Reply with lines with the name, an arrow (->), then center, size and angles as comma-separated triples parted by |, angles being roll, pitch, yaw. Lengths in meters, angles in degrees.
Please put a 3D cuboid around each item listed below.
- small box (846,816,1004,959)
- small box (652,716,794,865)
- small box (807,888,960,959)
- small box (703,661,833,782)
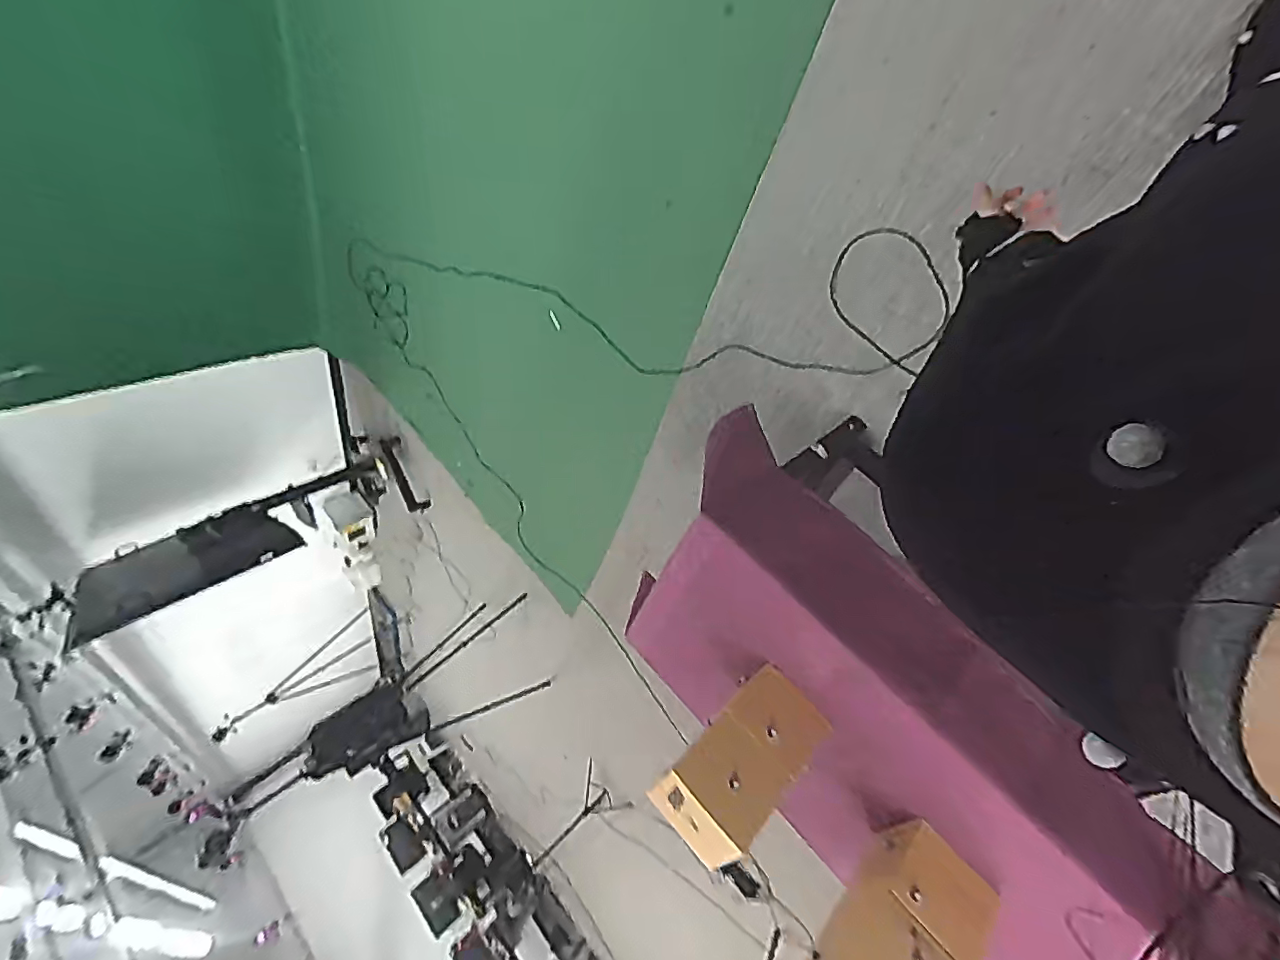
small box -> 0.536, 0.782, 1.016 | 0.179, 0.176, 0.168 | 44, 139, 22
small box -> 0.159, 0.587, 1.043 | 0.179, 0.176, 0.168 | 43, 138, 20
small box -> 0.416, 0.843, 0.920 | 0.168, 0.176, 0.179 | 43, 139, 21
small box -> 0.271, 0.523, 1.144 | 0.179, 0.176, 0.168 | 45, 138, 20
